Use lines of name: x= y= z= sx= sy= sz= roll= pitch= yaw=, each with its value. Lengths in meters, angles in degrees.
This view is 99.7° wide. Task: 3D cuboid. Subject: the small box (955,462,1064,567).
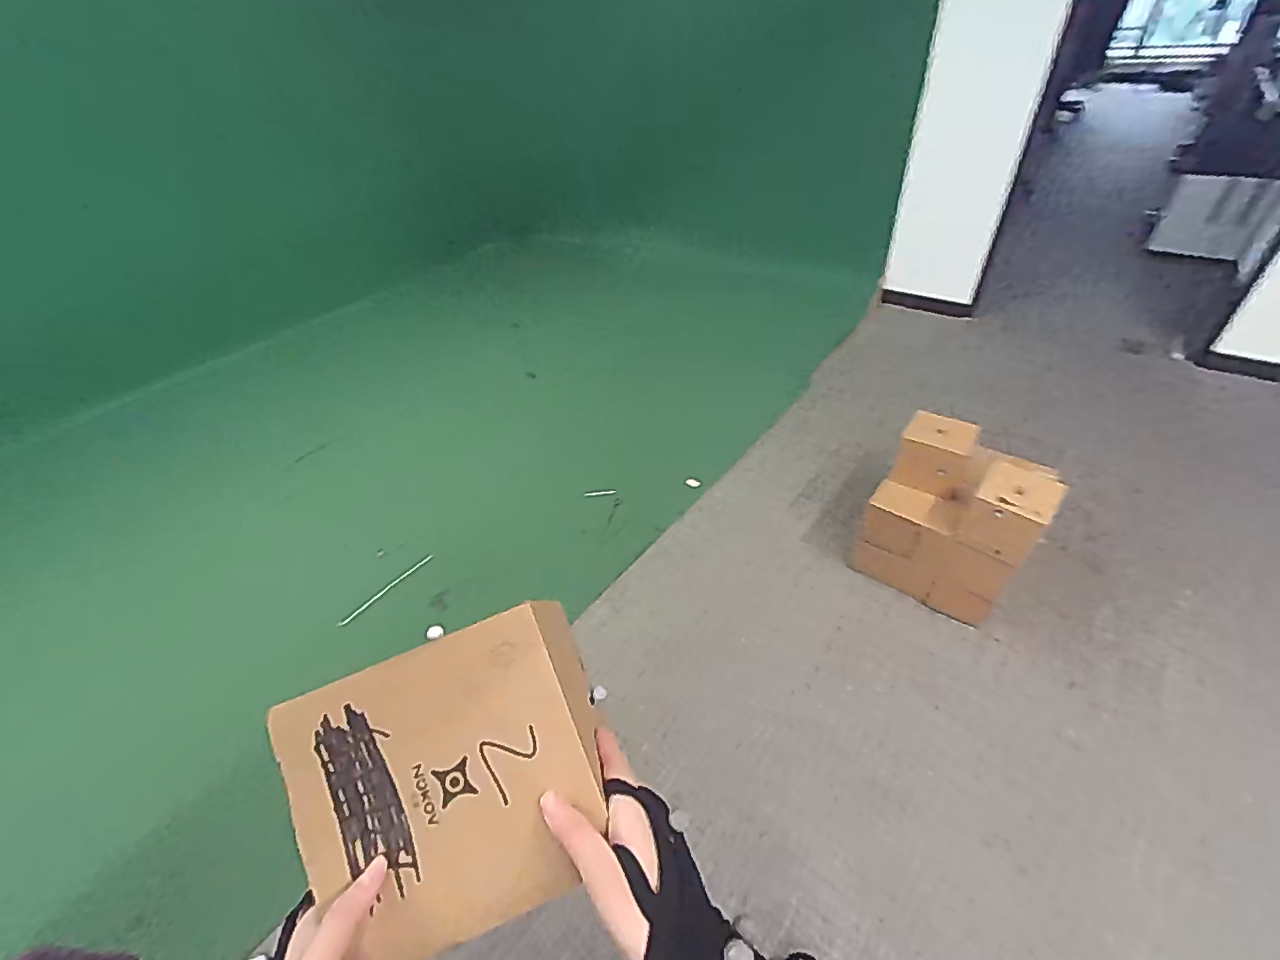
small box: x=0.956 y=0.090 z=1.412 sx=0.168 sy=0.176 sz=0.179 roll=30 pitch=53 yaw=33

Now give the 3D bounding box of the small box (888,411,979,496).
small box: x=0.868 y=-0.075 z=1.610 sx=0.179 sy=0.176 sz=0.168 roll=24 pitch=49 yaw=31
